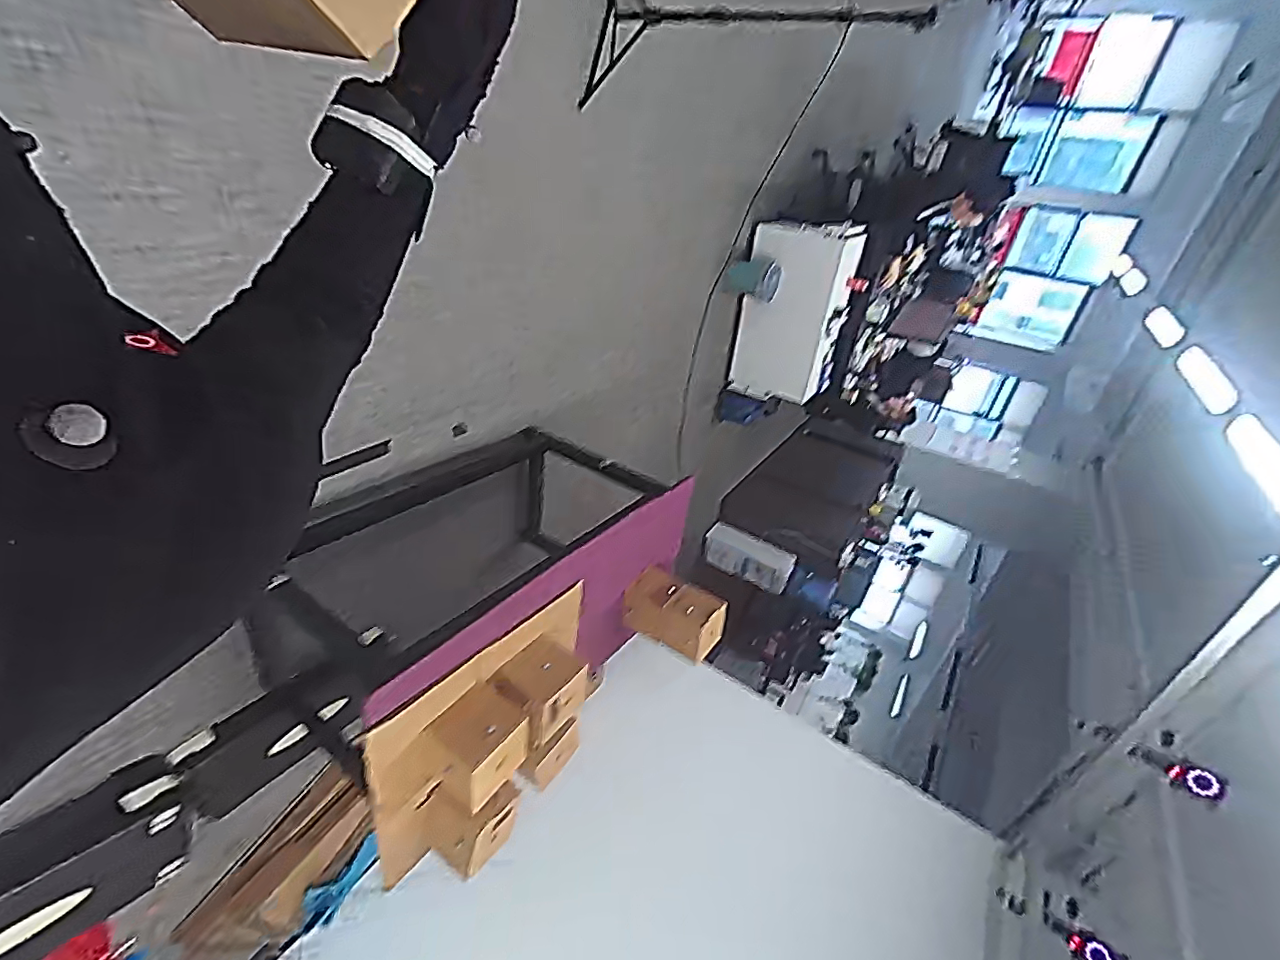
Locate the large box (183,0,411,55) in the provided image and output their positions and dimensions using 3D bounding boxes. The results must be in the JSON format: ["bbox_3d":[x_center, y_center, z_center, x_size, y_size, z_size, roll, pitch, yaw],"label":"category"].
[{"bbox_3d":[-0.309,-0.555,0.297,0.320,0.320,0.408,-57,151,-1],"label":"large box"}]
